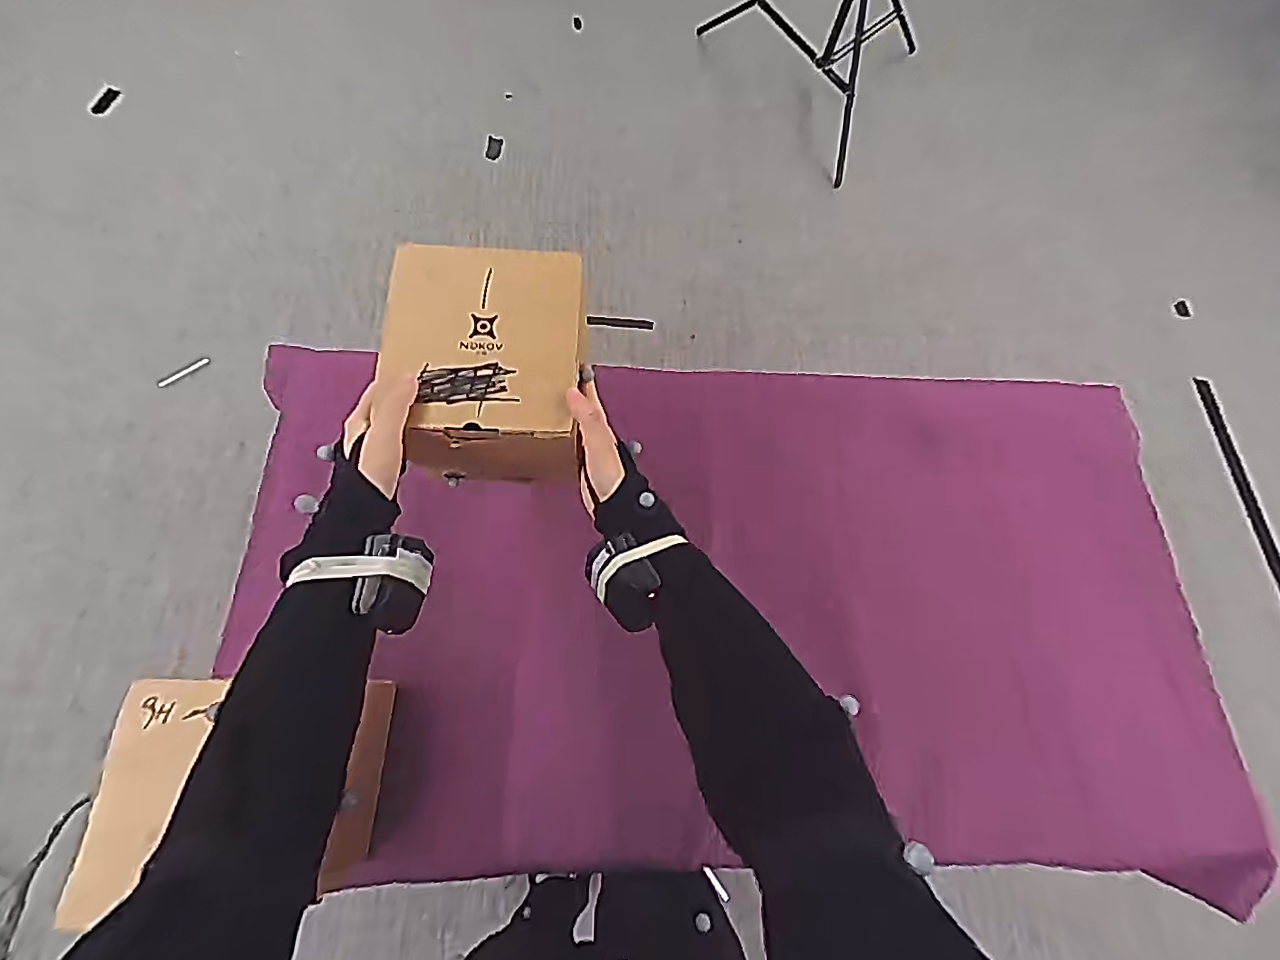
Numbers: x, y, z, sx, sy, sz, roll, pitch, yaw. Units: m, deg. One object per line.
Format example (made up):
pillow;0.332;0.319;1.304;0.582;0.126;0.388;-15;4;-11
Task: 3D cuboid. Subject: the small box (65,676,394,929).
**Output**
small box;-0.353;0.282;0.510;0.168;0.176;0.179;3;70;-4

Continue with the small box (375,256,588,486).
small box;-0.141;-0.097;0.549;0.168;0.176;0.179;2;73;-3
